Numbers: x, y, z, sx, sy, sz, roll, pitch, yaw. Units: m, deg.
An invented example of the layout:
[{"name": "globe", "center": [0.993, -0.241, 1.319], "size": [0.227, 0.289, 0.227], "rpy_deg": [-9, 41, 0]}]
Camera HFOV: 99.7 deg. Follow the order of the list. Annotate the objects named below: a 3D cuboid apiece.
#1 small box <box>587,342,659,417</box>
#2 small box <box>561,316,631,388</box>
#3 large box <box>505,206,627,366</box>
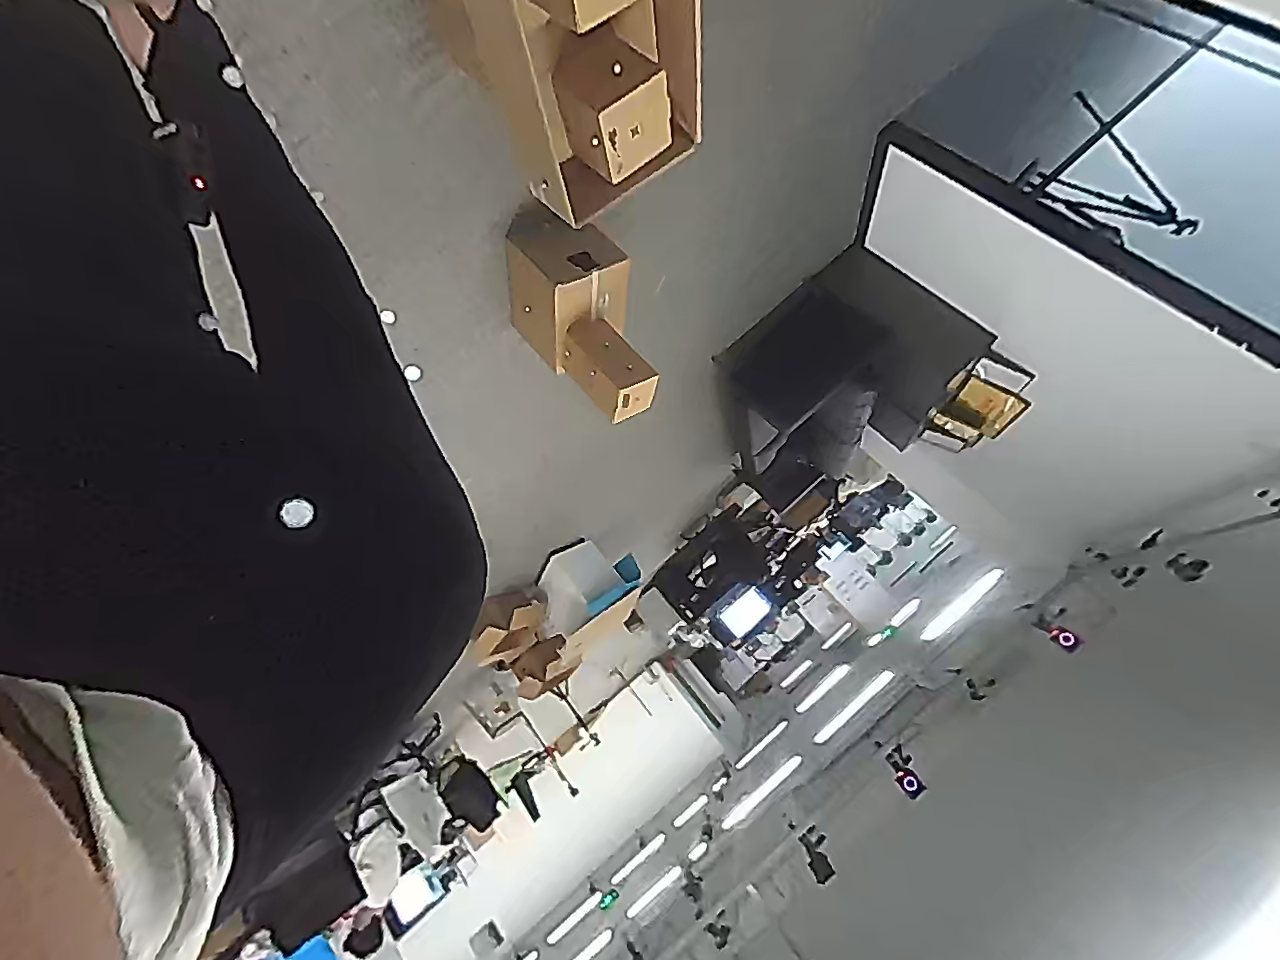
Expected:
[{"name": "small box", "center": [-0.066, -0.356, 1.898], "size": [0.179, 0.176, 0.168], "rpy_deg": [-28, 155, -31]}, {"name": "small box", "center": [-0.162, -0.472, 1.963], "size": [0.179, 0.176, 0.168], "rpy_deg": [-27, 155, -30]}, {"name": "large box", "center": [-0.272, -0.709, 1.991], "size": [0.320, 0.320, 0.408], "rpy_deg": [-33, 157, -25]}]
